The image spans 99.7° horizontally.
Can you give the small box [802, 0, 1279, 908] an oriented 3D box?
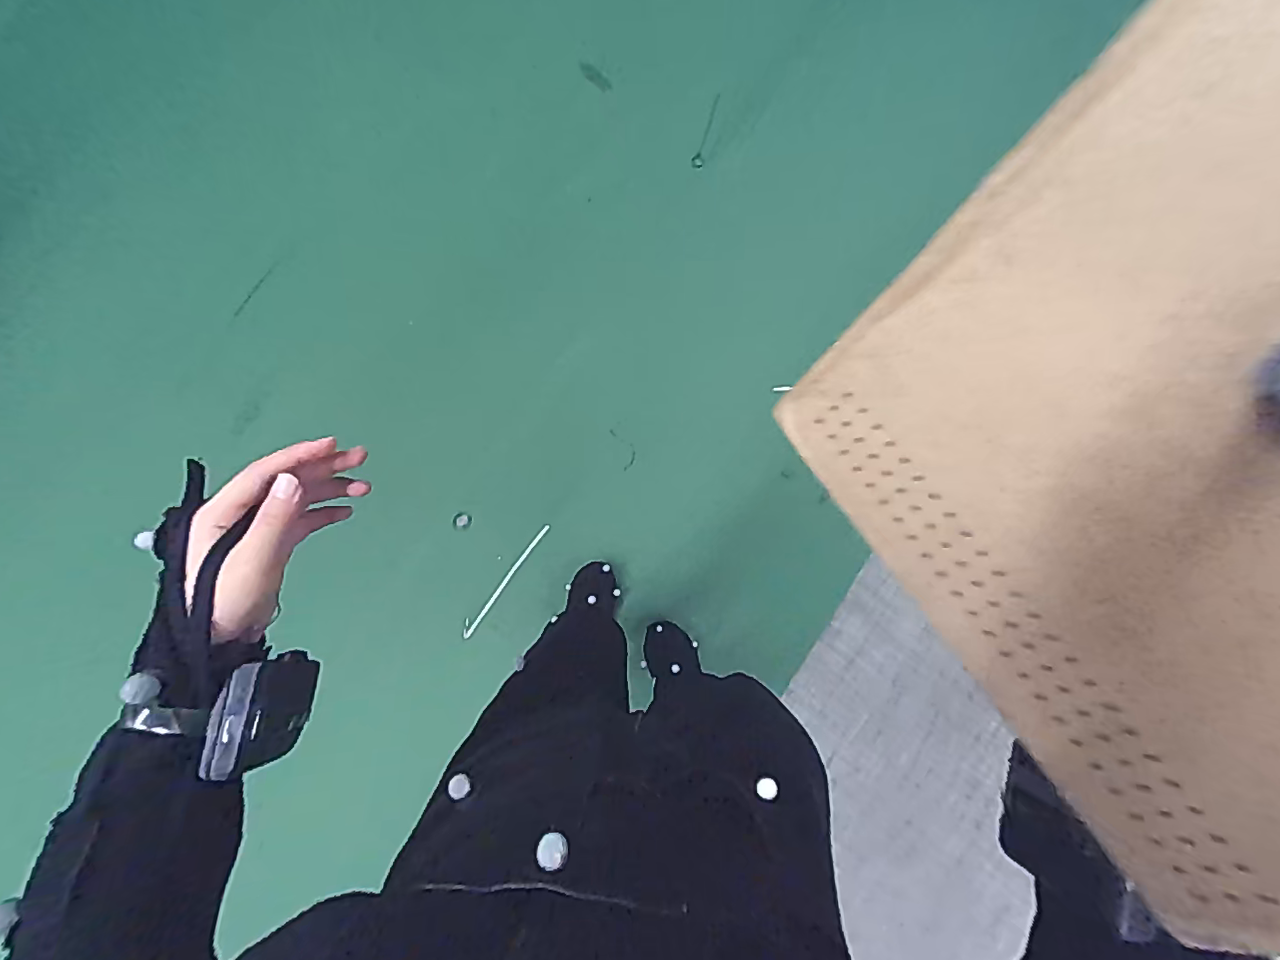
[{"bbox_3d":[0.185,-0.013,0.155,0.168,0.176,0.179,-21,68,-35],"label":"small box"}]
